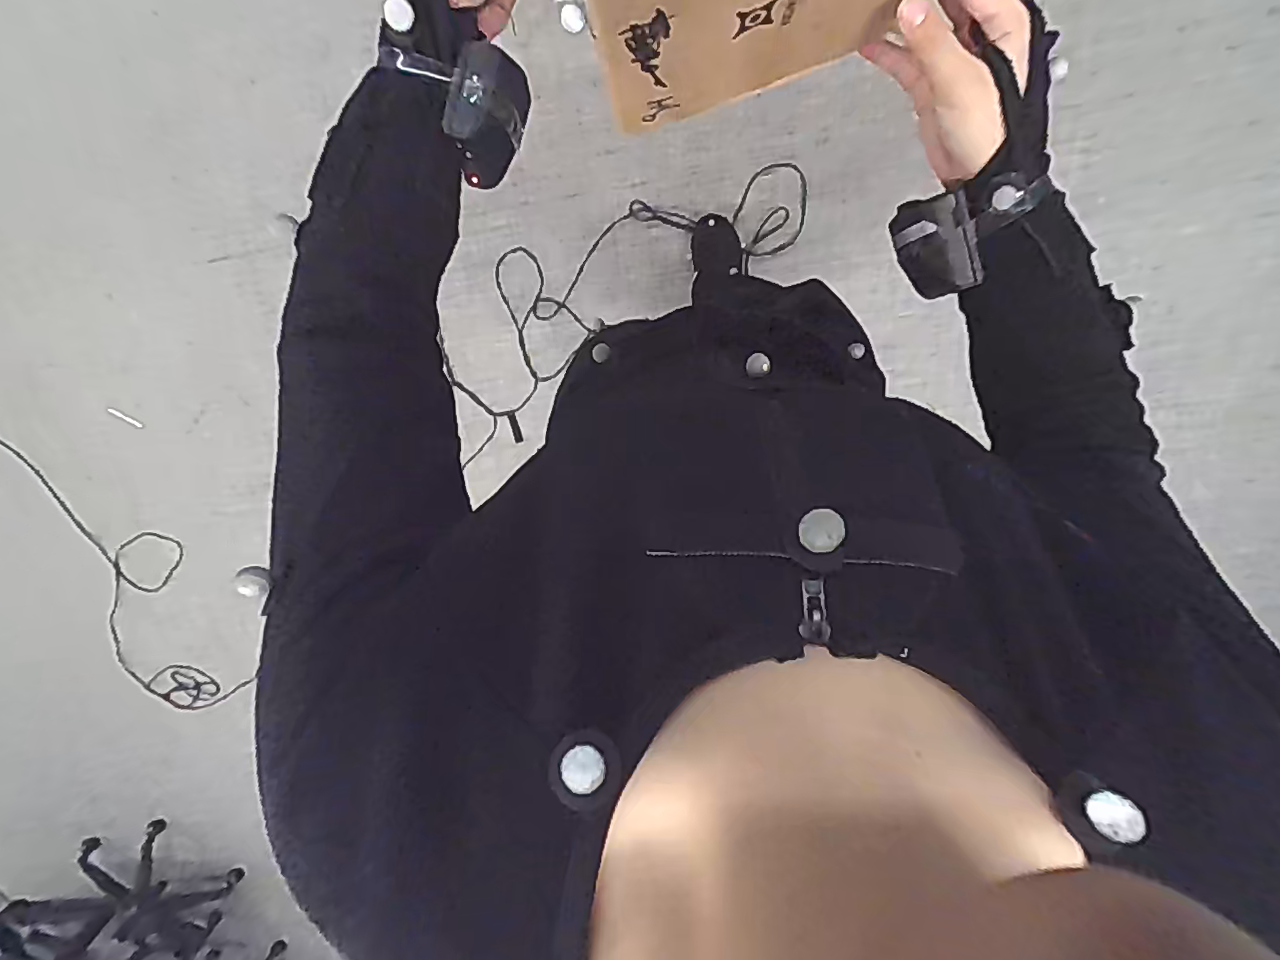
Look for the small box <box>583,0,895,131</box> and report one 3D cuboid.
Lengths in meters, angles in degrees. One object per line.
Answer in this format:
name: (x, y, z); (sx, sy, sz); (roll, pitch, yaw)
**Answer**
small box: (0.041, -0.322, 0.263); (0.179, 0.168, 0.176); (-18, 99, 7)
